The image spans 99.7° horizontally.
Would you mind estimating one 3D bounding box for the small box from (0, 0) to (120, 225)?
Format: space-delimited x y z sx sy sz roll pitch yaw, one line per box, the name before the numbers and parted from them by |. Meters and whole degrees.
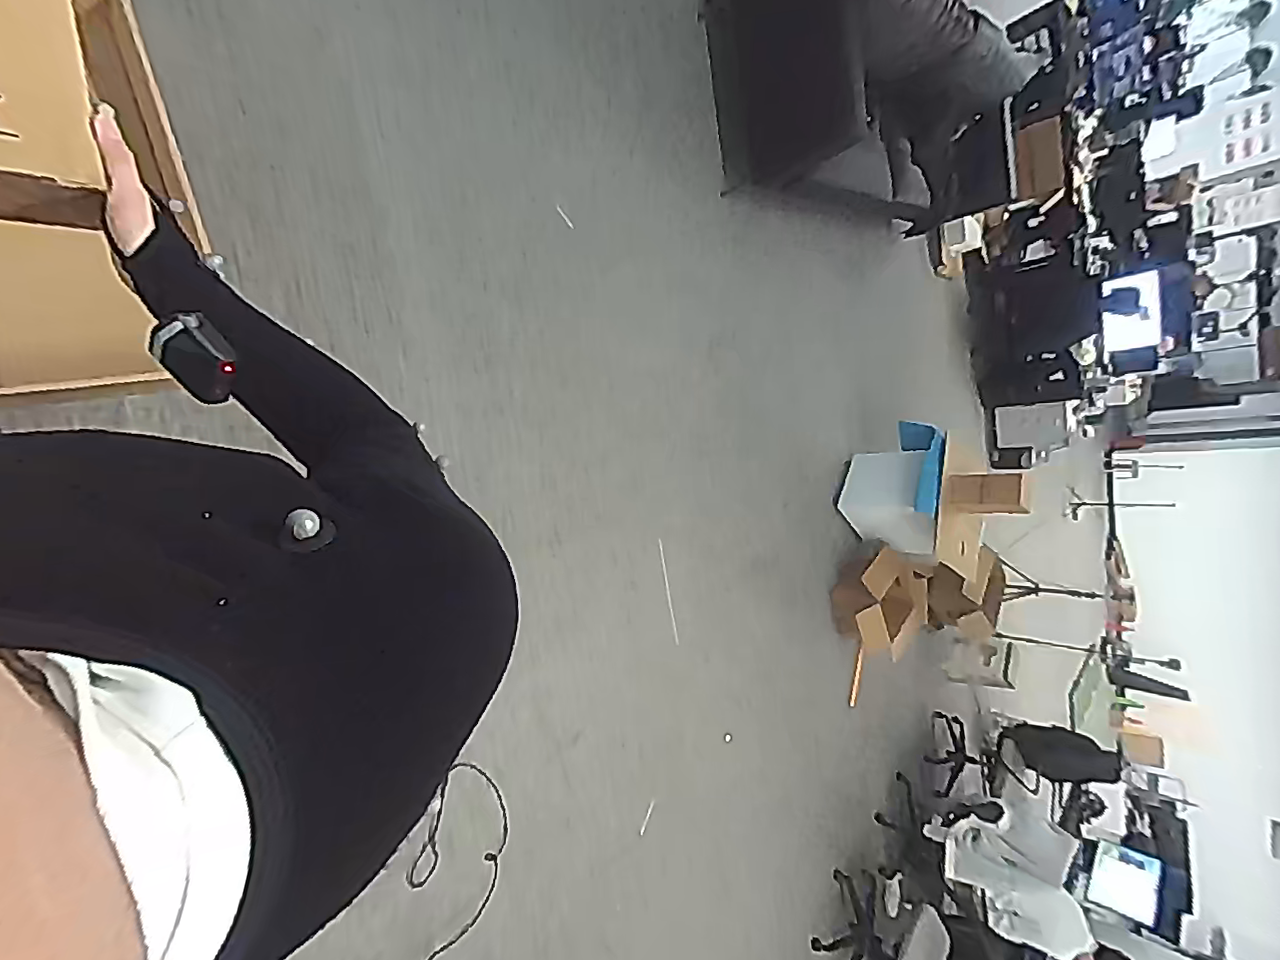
small box | -0.548 -0.321 0.435 0.168 0.176 0.179 -13 105 -42
